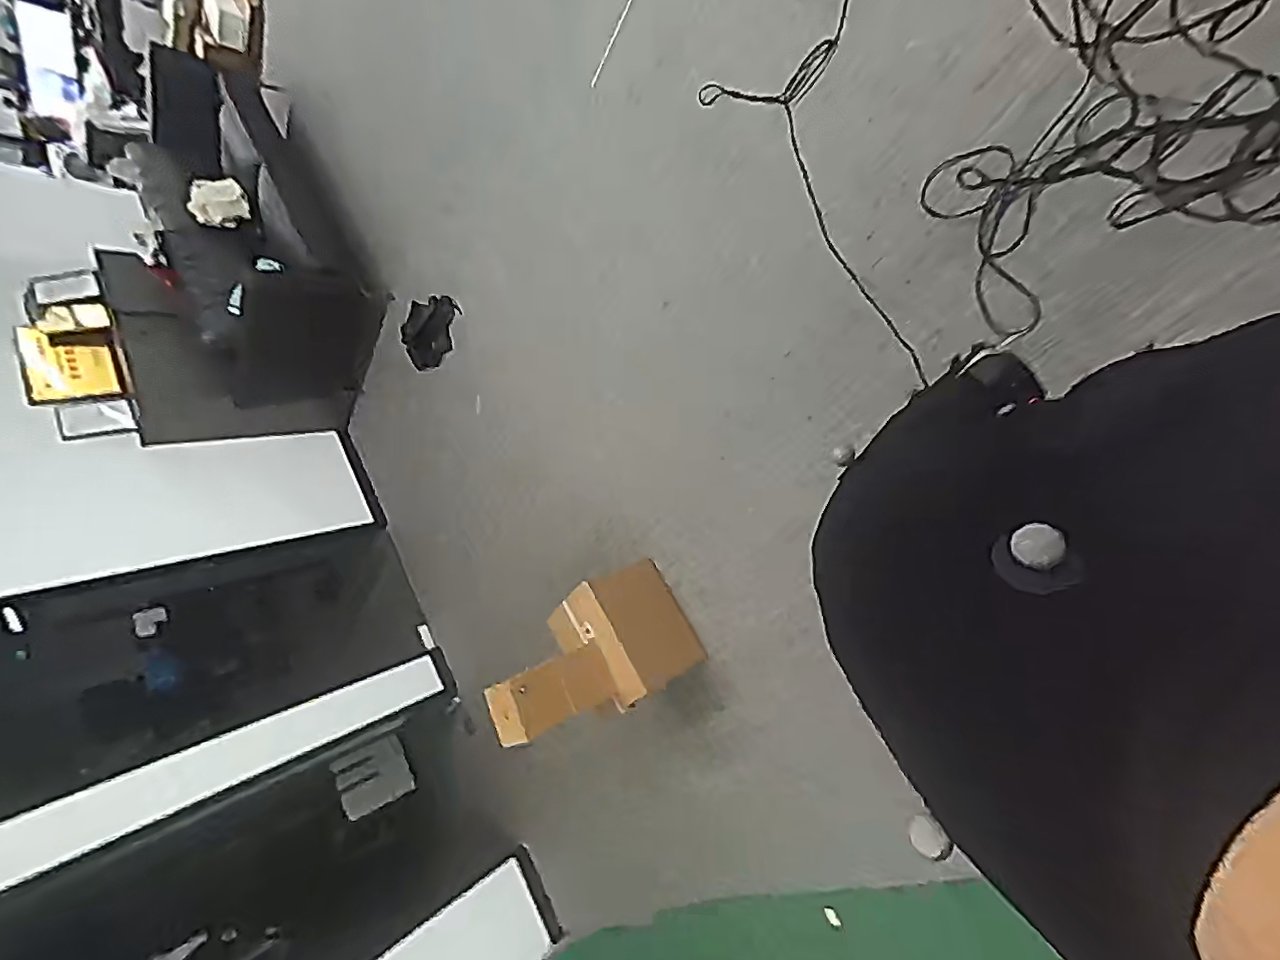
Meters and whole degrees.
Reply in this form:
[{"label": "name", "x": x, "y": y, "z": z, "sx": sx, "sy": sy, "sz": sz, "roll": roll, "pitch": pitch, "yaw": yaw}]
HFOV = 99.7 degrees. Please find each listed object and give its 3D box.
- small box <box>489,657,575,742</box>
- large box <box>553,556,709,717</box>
[{"label": "small box", "x": -0.320, "y": 0.656, "z": 1.622, "sx": 0.168, "sy": 0.176, "sz": 0.179, "roll": -36, "pitch": 73, "yaw": 43}, {"label": "large box", "x": -0.037, "y": 0.537, "z": 1.895, "sx": 0.320, "sy": 0.320, "sz": 0.408, "roll": -48, "pitch": 65, "yaw": 38}]
